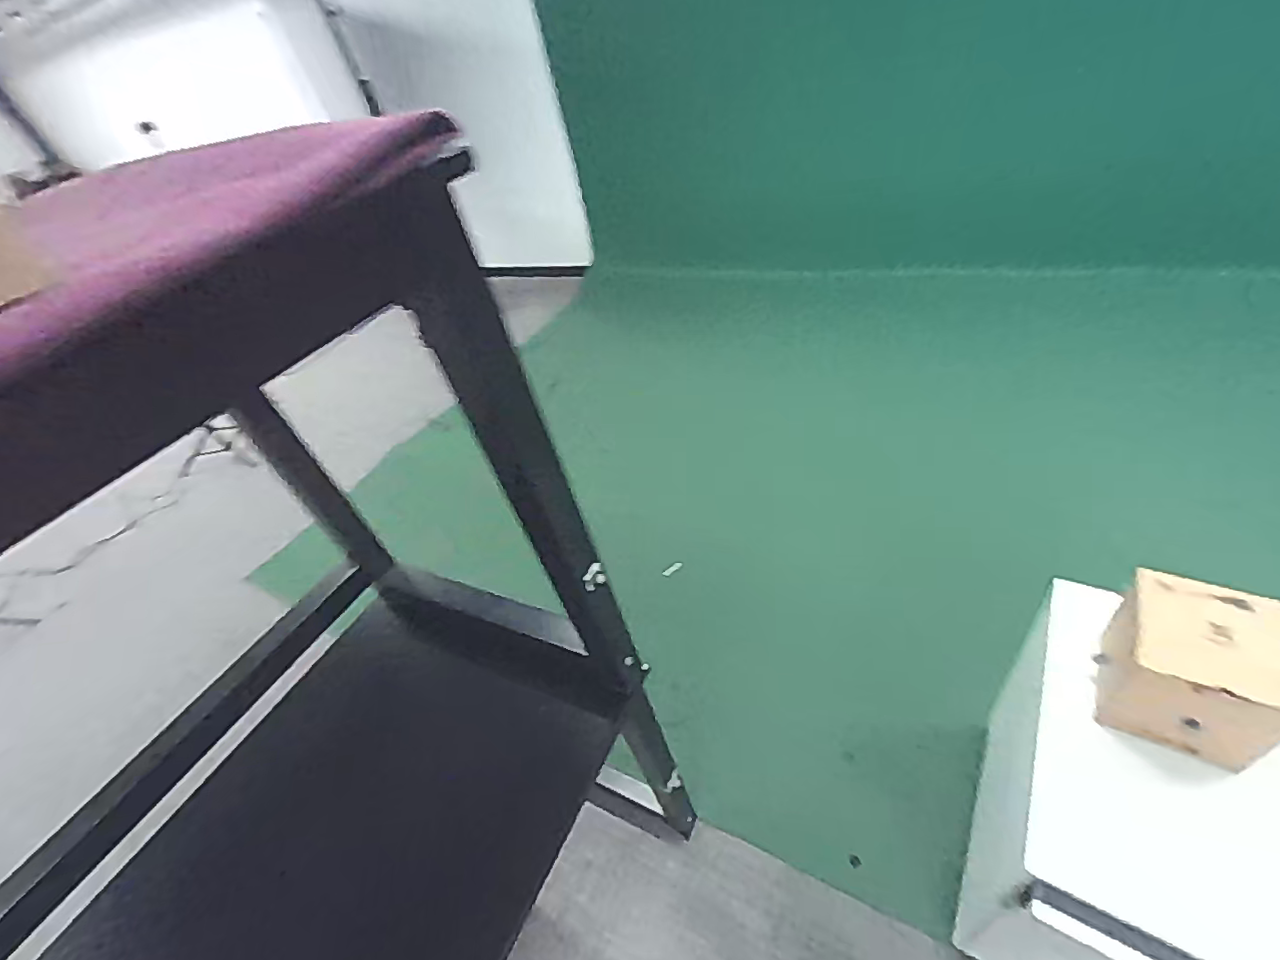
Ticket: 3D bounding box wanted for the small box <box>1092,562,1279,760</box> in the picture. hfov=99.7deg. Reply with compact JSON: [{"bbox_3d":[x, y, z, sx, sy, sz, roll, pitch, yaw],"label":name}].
[{"bbox_3d":[0.762,0.251,0.753,0.168,0.176,0.179,16,51,30],"label":"small box"}]
